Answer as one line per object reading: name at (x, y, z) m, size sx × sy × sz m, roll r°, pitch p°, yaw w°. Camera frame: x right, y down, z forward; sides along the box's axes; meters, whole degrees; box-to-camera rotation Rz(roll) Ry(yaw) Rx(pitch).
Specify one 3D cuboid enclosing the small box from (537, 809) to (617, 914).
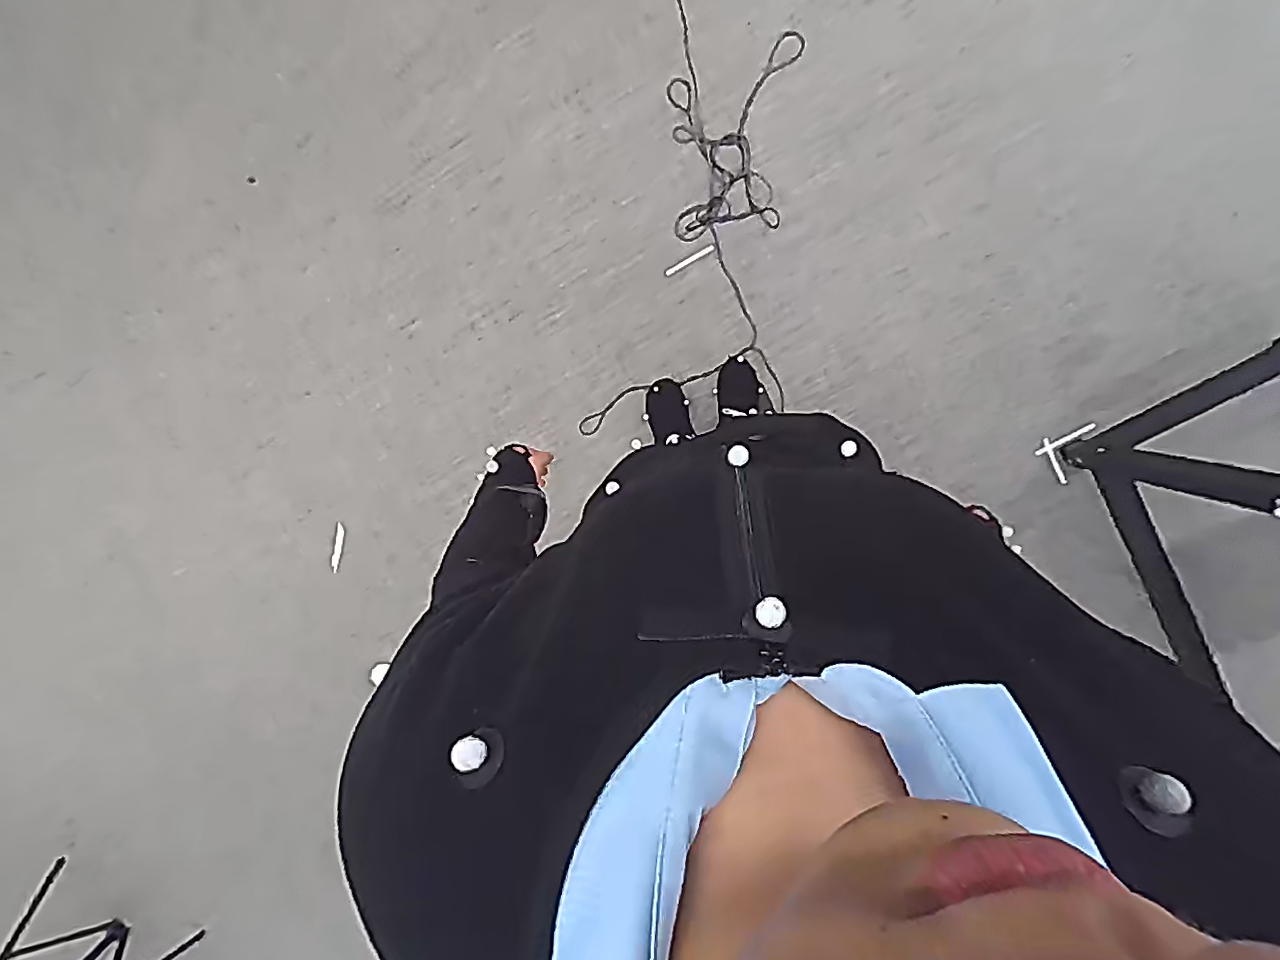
small box at (-0.181, 1.148, 1.640) m, size 0.179 × 0.176 × 0.168 m, roll -31°, pitch 95°, yaw 10°
